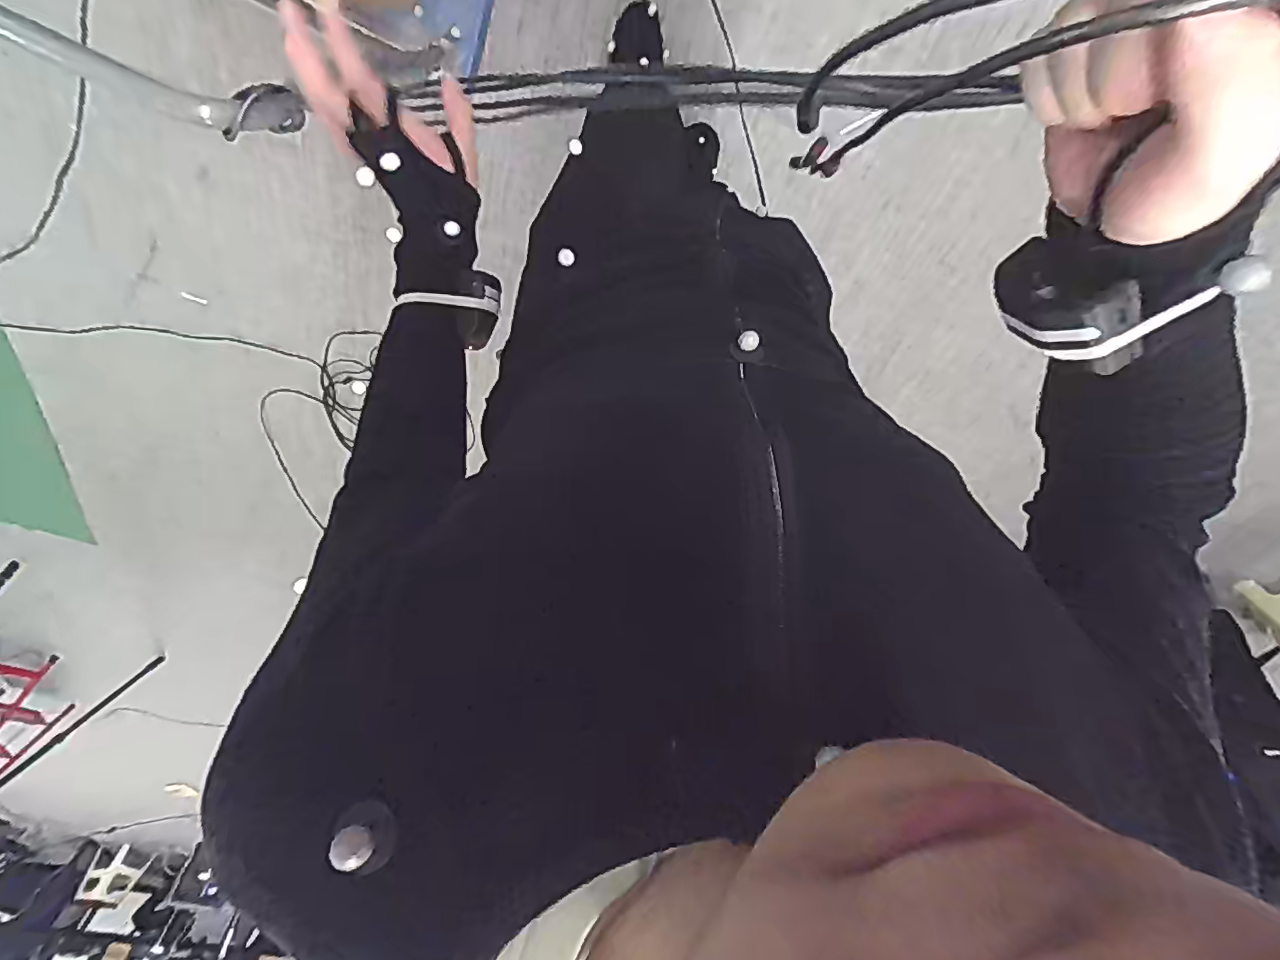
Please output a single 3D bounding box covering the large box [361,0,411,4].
[{"bbox_3d":[-0.479,-0.954,0.718,0.320,0.320,0.408,21,128,-15],"label":"large box"}]
